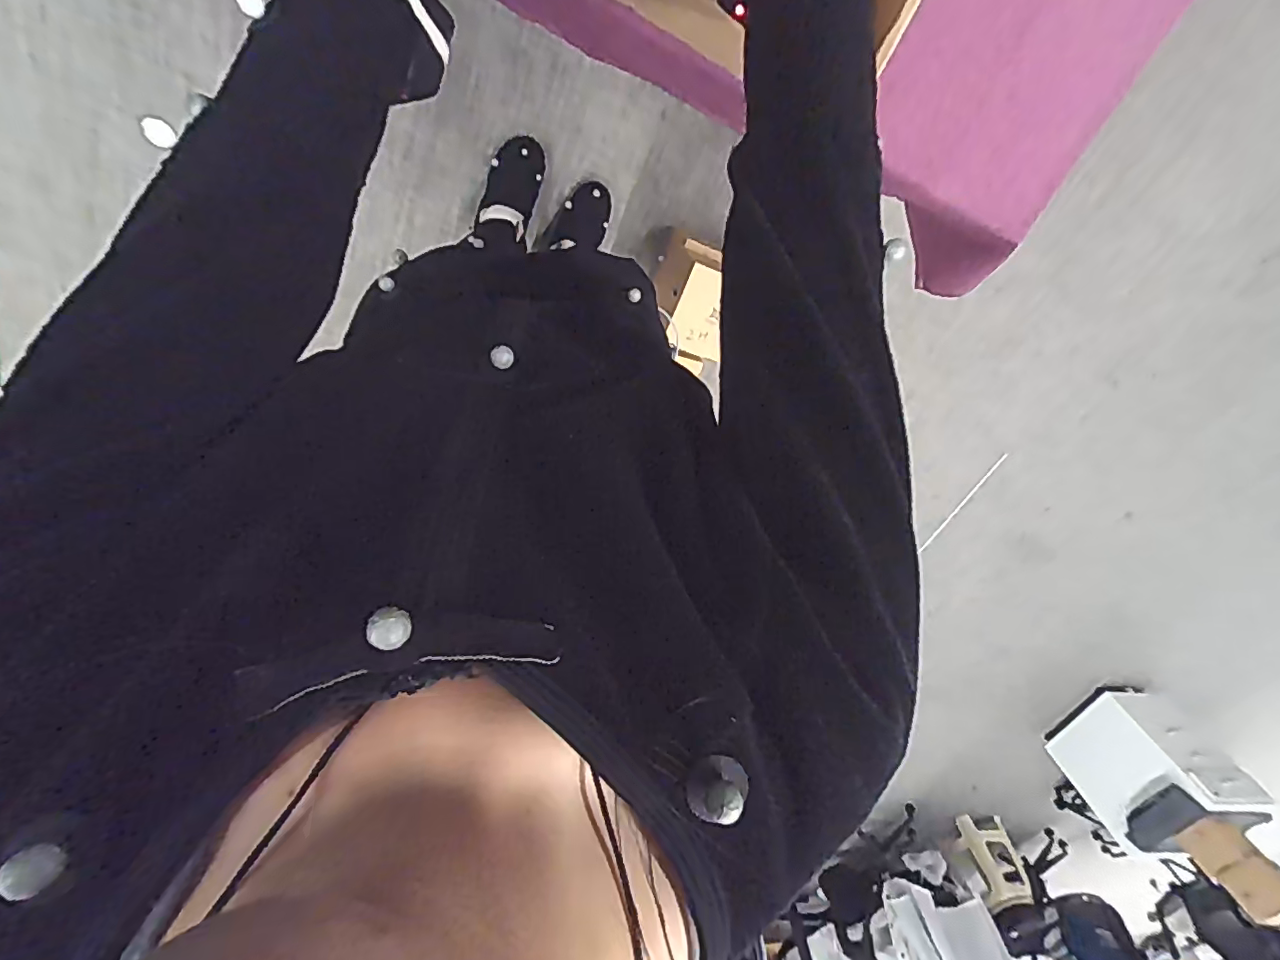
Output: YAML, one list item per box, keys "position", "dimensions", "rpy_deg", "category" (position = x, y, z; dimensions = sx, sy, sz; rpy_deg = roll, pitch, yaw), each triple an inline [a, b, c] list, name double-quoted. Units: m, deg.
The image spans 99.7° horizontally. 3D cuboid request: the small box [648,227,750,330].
- position: [0.135, -0.492, 1.310]
  dimensions: [0.179, 0.176, 0.168]
  rpy_deg: [16, 120, -18]
  category: "small box"
